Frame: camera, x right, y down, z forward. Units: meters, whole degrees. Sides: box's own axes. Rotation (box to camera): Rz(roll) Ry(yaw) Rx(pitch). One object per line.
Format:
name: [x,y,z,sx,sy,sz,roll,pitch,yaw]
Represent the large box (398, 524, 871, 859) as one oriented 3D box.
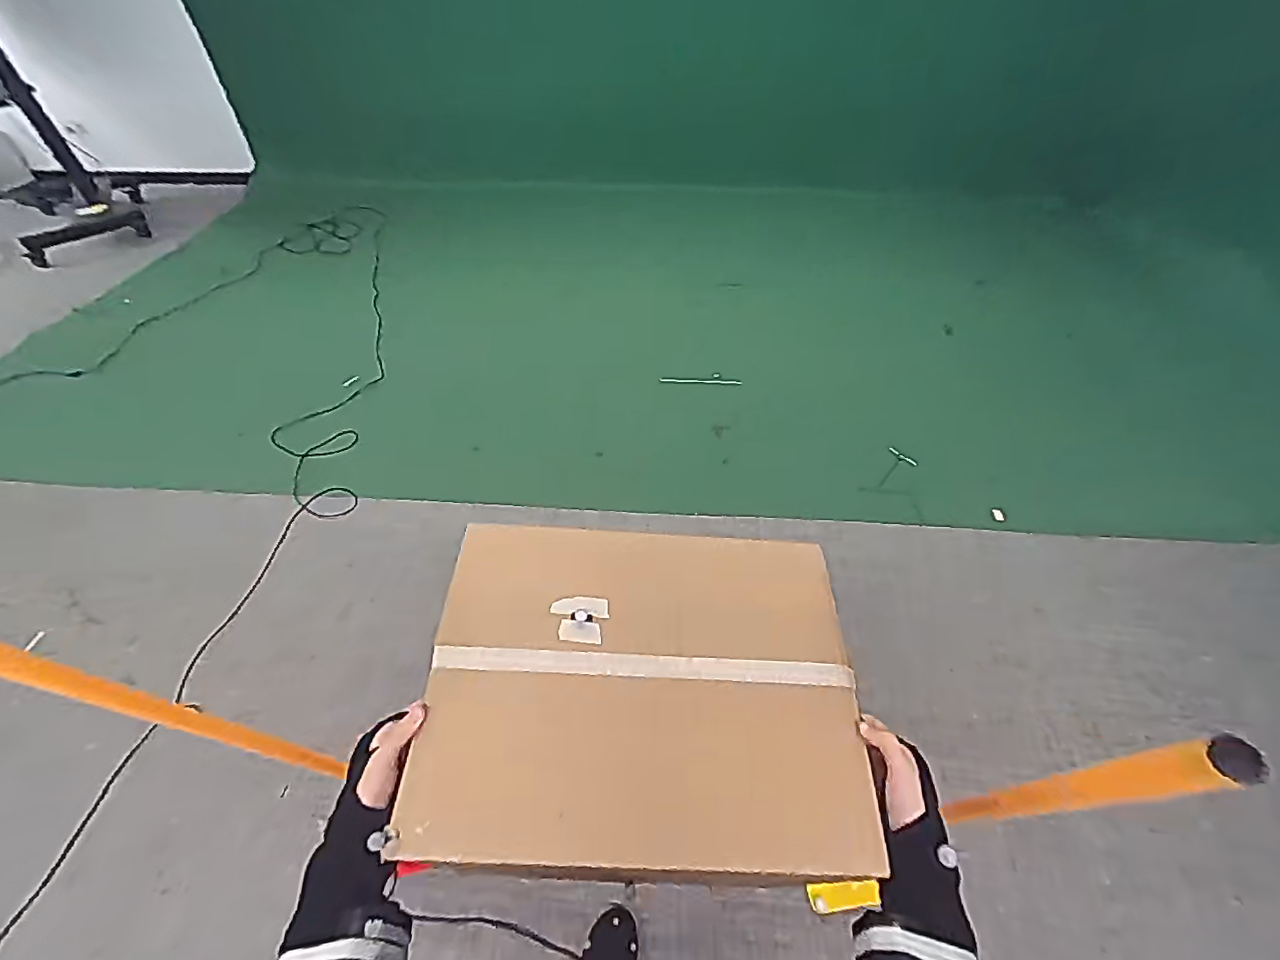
large box: [-0.005,0.269,0.655,0.408,0.320,0.320,3,53,-2]
